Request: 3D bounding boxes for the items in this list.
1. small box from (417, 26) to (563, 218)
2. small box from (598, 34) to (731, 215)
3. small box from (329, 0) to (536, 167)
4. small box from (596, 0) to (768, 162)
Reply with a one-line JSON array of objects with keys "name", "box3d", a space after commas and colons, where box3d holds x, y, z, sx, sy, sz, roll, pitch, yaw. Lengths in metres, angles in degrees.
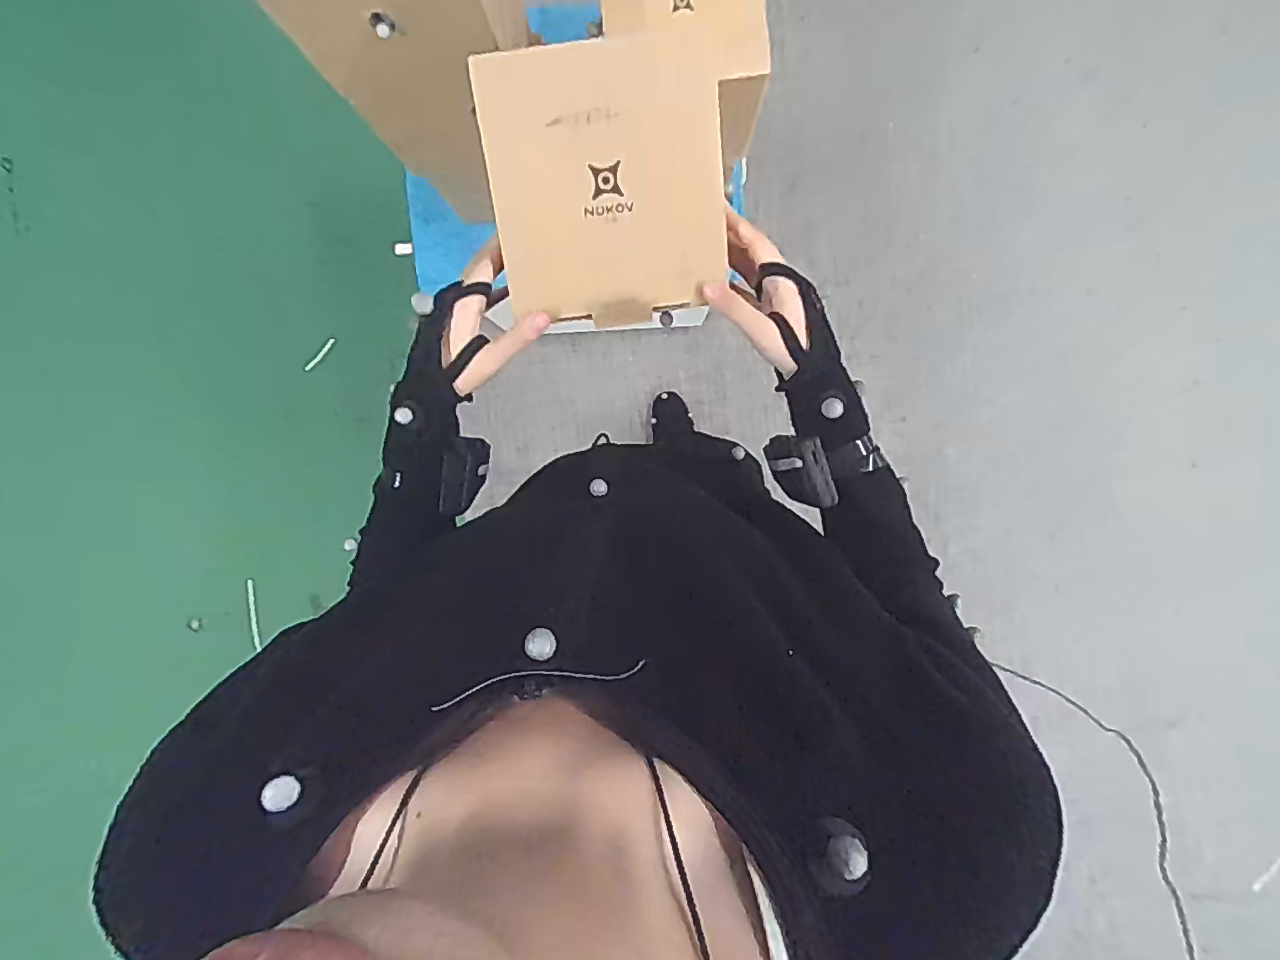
[{"name": "small box", "box3d": [-0.209, -0.496, 0.774, 0.179, 0.176, 0.168, -5, 94, 1]}, {"name": "small box", "box3d": [0.035, -0.497, 0.772, 0.168, 0.176, 0.179, -4, 95, 1]}, {"name": "small box", "box3d": [-0.219, -0.482, 0.610, 0.179, 0.176, 0.168, -5, 94, 1]}, {"name": "small box", "box3d": [0.041, -0.486, 0.609, 0.168, 0.176, 0.179, -6, 93, 2]}]
